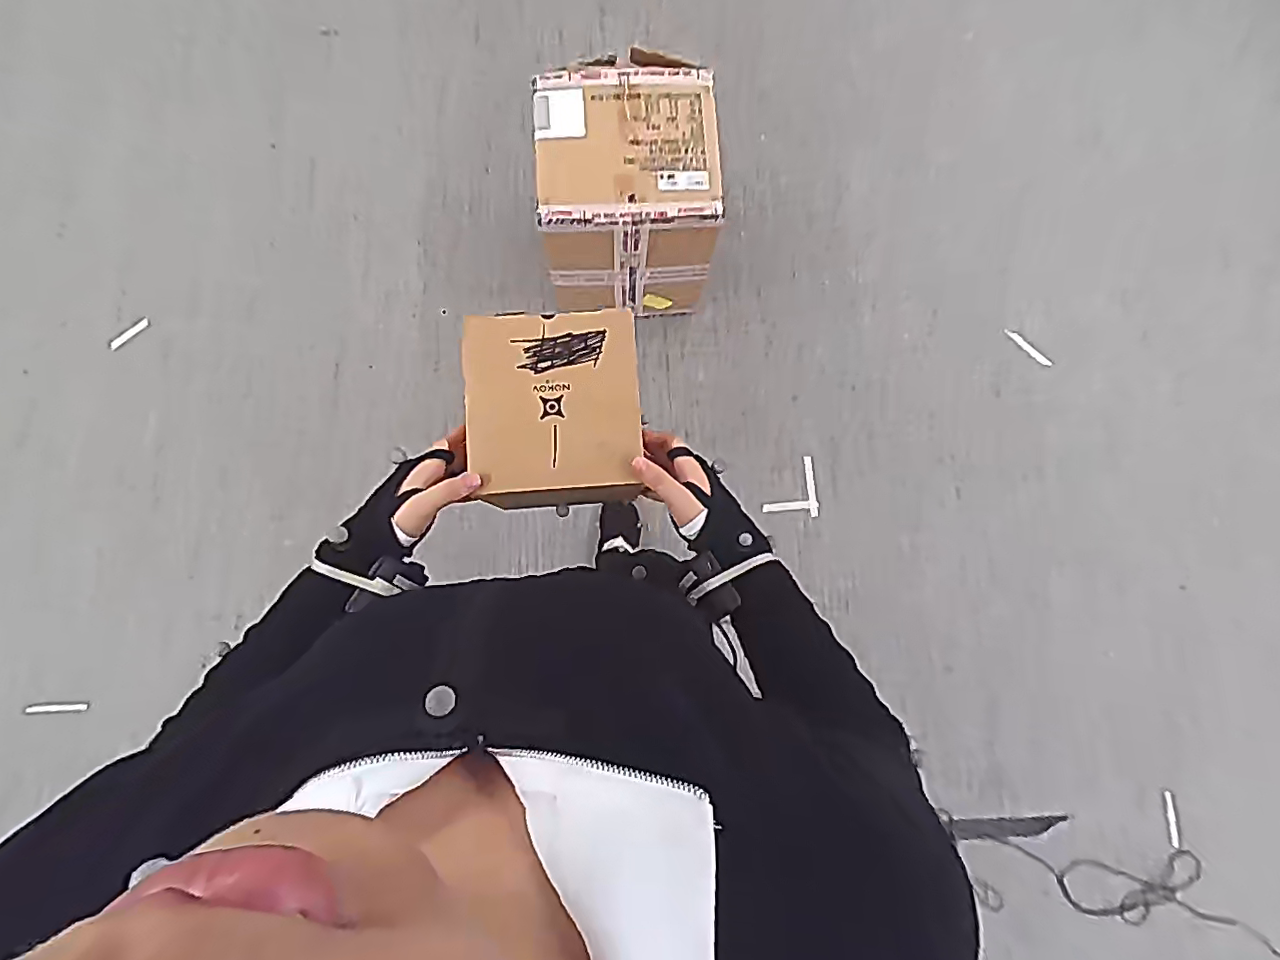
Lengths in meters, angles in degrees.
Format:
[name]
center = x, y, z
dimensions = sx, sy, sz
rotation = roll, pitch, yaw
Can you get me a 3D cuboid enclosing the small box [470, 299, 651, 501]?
[small box]
center = -0.081, -0.076, 0.589
dimensions = 0.168, 0.176, 0.179
rotation = -4, 83, -3
